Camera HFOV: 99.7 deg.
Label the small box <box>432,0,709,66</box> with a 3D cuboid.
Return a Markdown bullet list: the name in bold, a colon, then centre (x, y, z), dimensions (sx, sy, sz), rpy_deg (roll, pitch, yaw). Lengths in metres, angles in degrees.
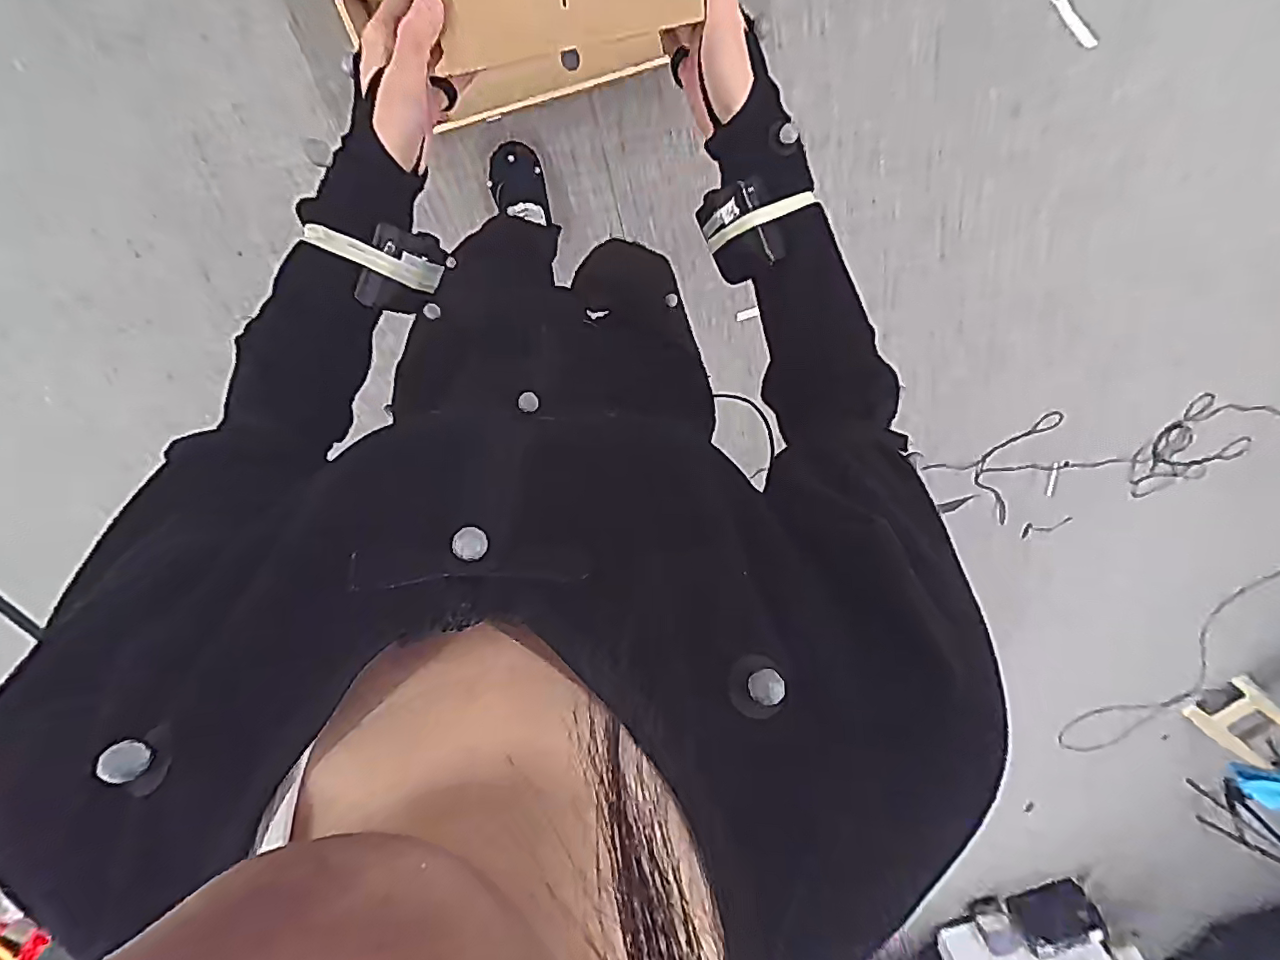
- **small box**: centre (-0.059, -0.387, 0.338), dimensions (0.168, 0.176, 0.179), rpy_deg (-11, 132, 2)

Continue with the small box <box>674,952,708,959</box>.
- **small box**: centre (0.163, 1.737, 1.817), dimensions (0.179, 0.176, 0.168), rpy_deg (-13, 122, -2)
